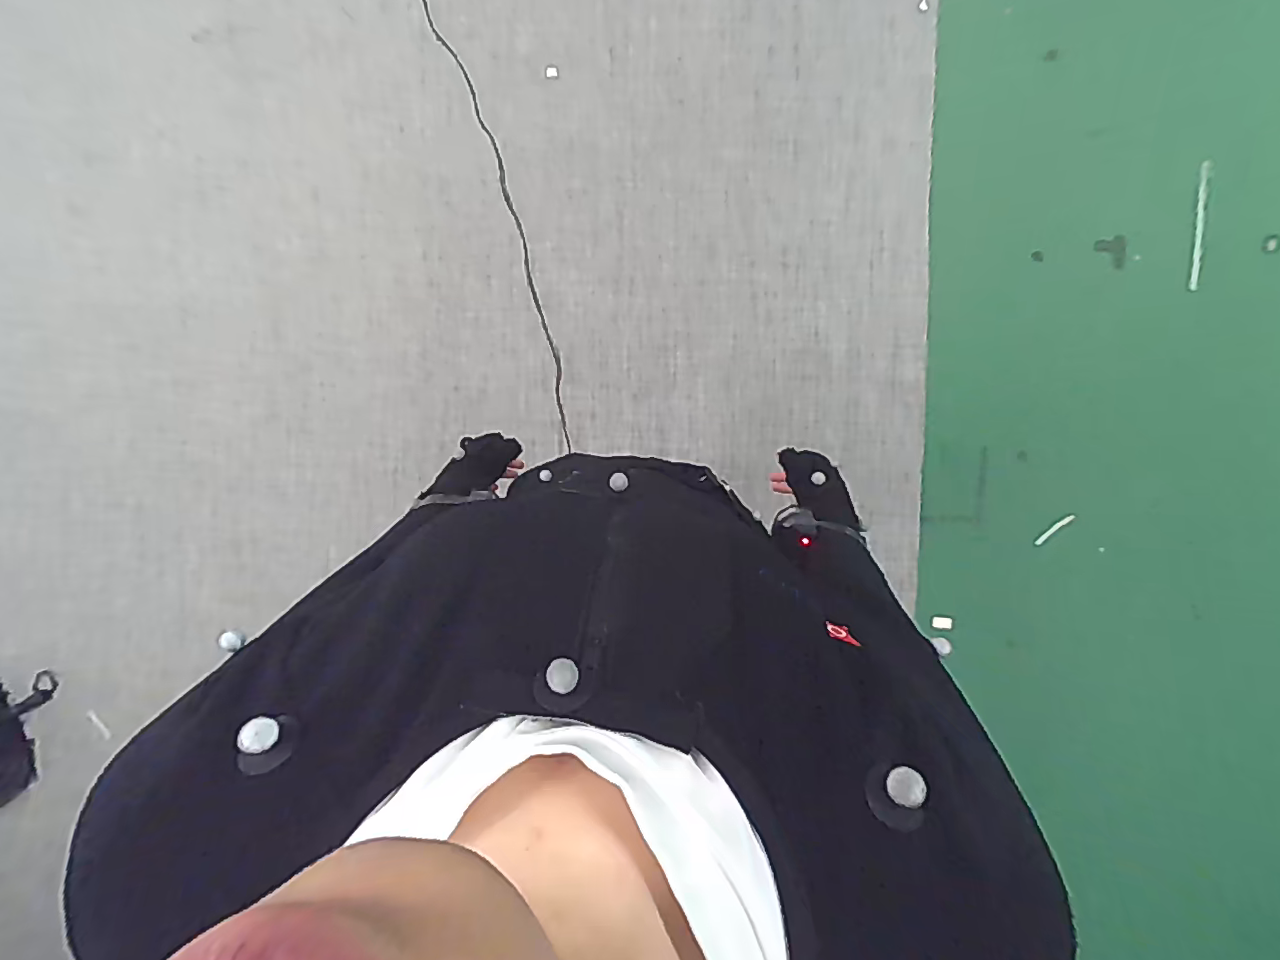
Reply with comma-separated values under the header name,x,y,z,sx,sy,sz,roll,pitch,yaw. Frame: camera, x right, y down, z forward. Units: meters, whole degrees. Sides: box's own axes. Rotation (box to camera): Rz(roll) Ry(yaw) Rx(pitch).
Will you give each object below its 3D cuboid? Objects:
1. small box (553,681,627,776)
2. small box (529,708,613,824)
name,x,y,z,sx,sy,sz,roll,pitch,yaw
small box,-0.130,0.642,1.415,0.179,0.176,0.168,3,93,2
small box,-0.154,0.656,1.255,0.168,0.176,0.179,2,92,2
